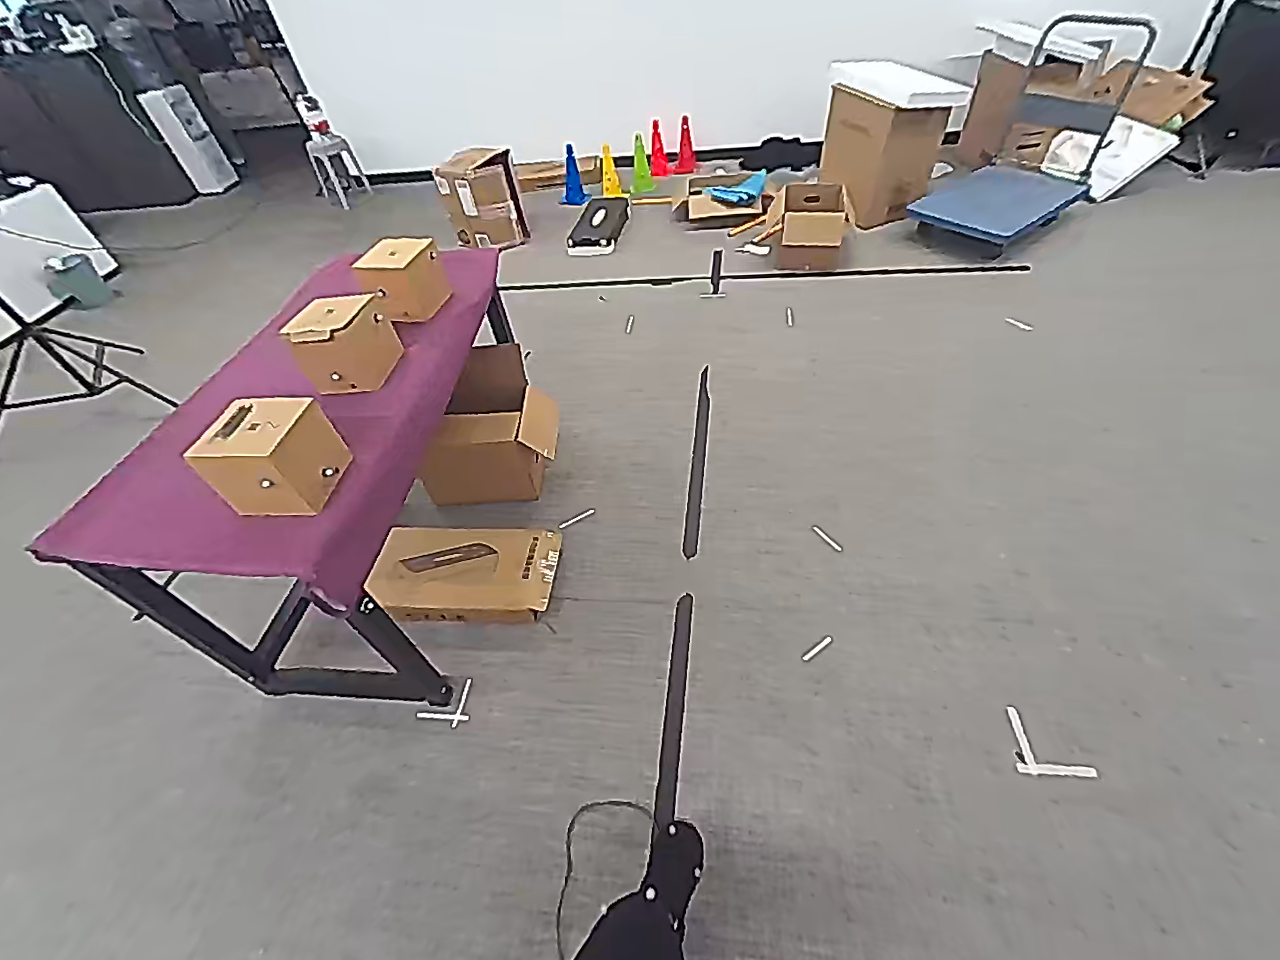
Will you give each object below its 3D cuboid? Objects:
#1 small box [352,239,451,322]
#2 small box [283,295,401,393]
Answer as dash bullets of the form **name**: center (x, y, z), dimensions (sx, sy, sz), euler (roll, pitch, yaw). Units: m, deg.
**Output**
- **small box**: center (-0.671, -0.568, 1.548), dimensions (0.168, 0.176, 0.179), euler (5, 48, 12)
- **small box**: center (-0.721, -0.335, 1.338), dimensions (0.168, 0.176, 0.179), euler (-2, 47, 9)
